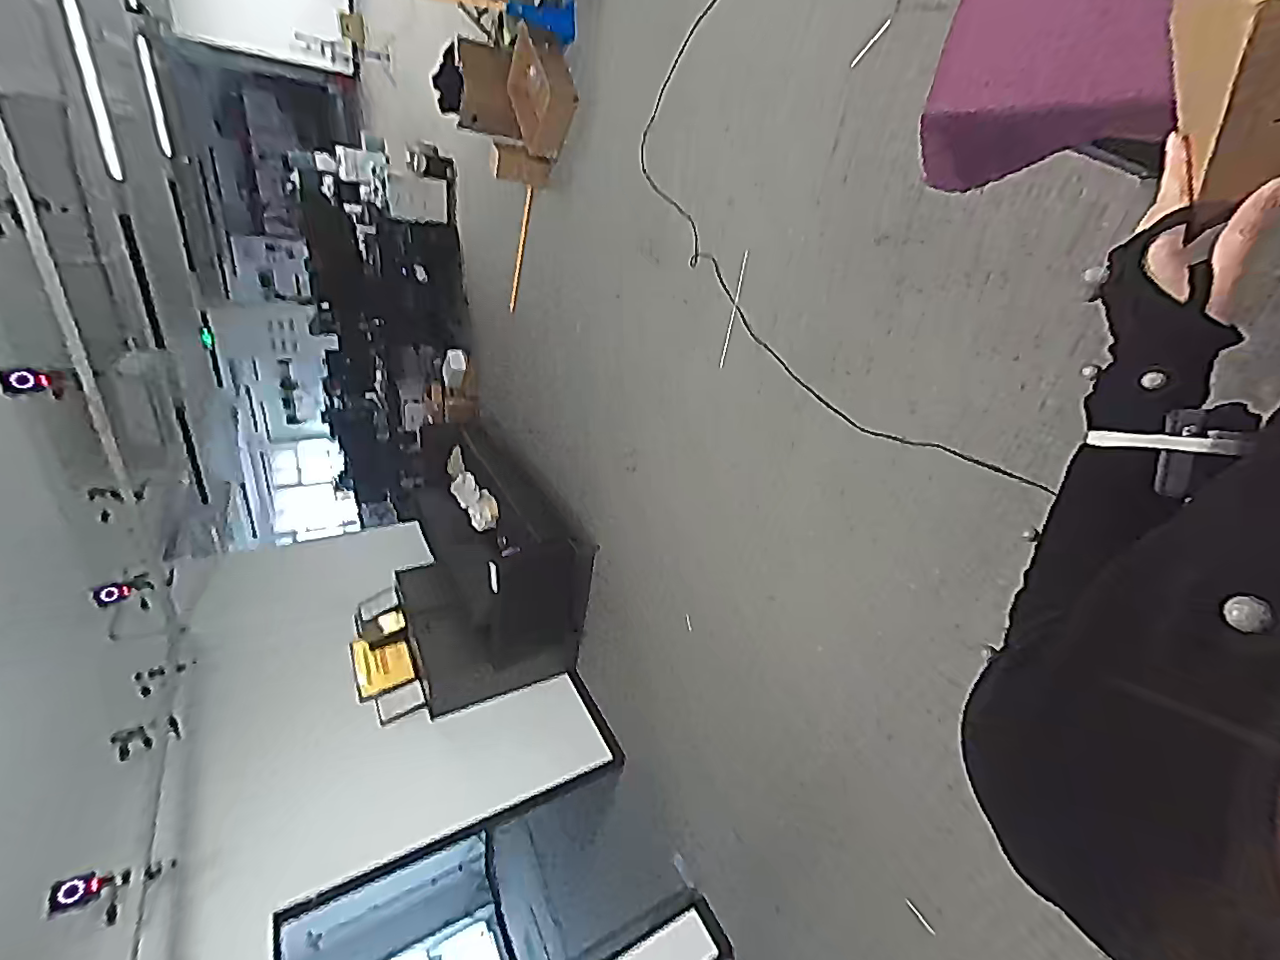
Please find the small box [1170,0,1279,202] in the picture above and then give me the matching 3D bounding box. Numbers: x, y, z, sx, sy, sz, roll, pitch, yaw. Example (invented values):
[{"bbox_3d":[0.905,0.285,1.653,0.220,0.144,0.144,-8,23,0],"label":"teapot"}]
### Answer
[{"bbox_3d":[0.394,-0.282,0.264,0.179,0.168,0.176,1,78,38],"label":"small box"}]
